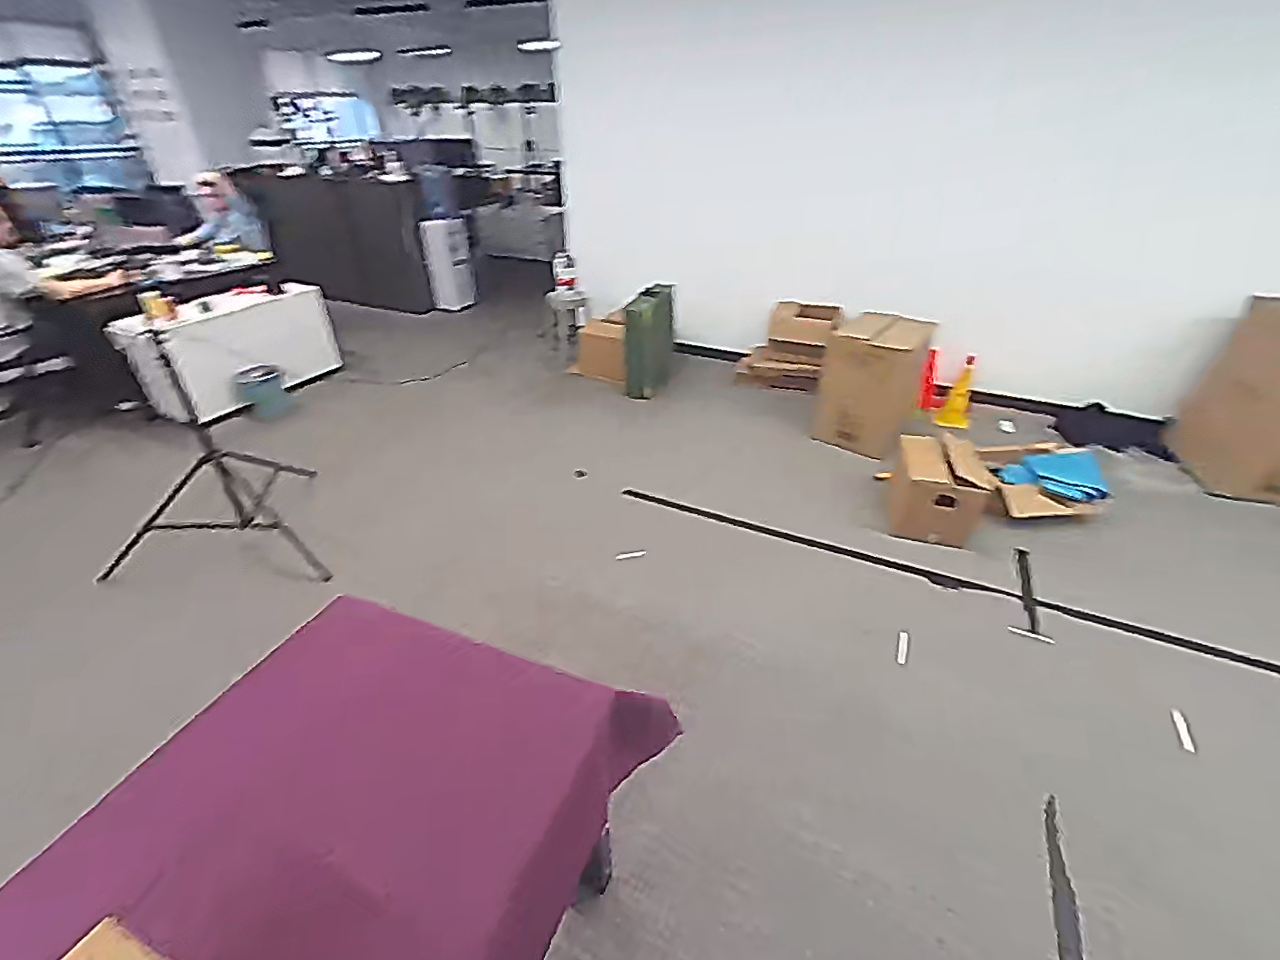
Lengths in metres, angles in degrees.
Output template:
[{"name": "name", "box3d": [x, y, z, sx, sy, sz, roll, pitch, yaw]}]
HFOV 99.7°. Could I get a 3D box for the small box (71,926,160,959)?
[{"name": "small box", "box3d": [-0.483, 0.567, 0.491, 0.179, 0.176, 0.168, 13, 36, 18]}]
